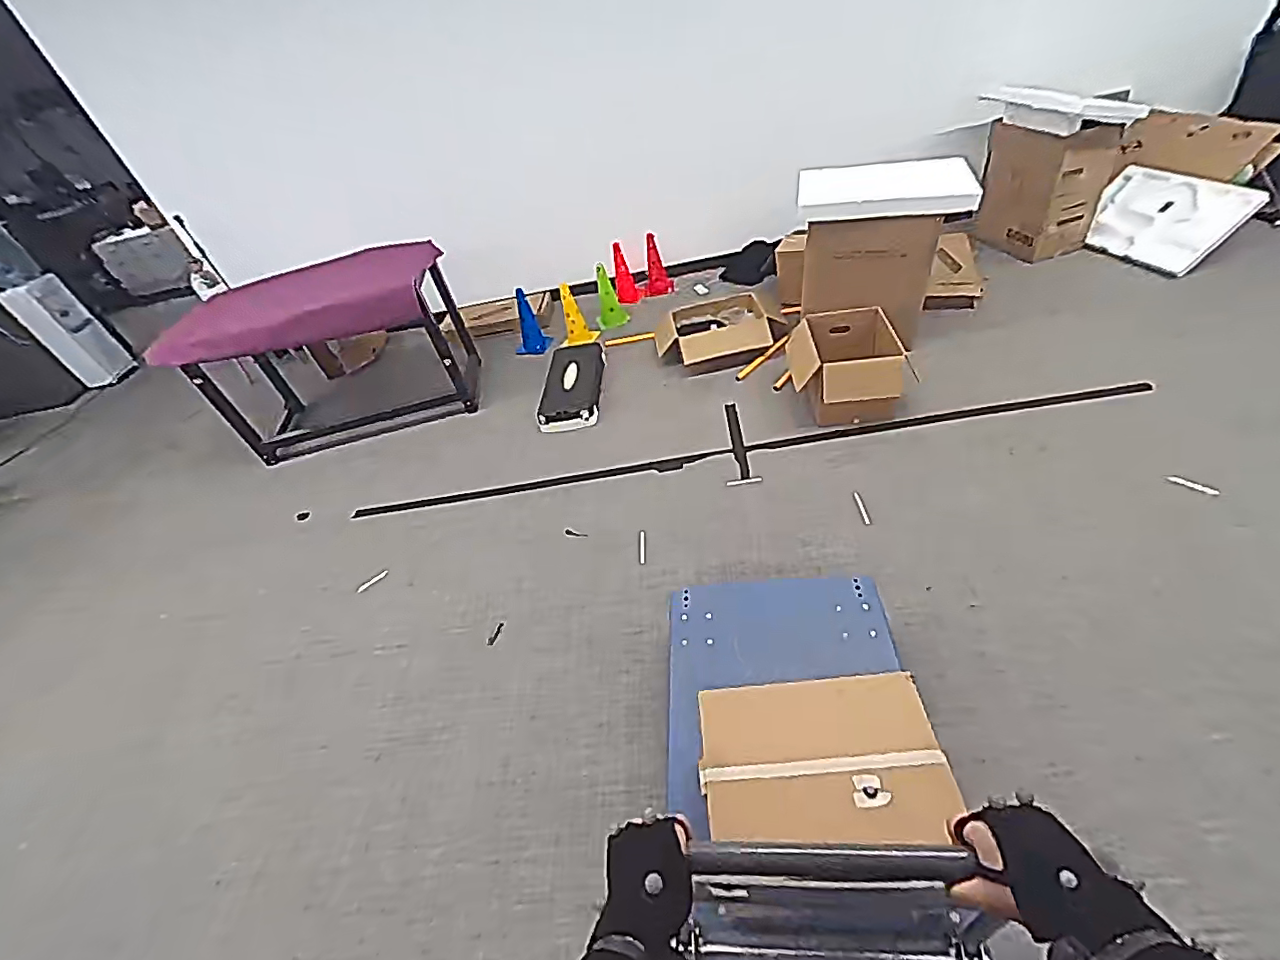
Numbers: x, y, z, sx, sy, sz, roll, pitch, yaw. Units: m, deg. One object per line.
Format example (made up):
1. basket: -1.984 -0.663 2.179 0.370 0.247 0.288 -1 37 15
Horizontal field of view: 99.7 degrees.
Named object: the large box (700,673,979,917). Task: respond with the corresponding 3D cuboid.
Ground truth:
1. large box: 0.340 0.609 1.042 0.408 0.320 0.320 -8 43 6
